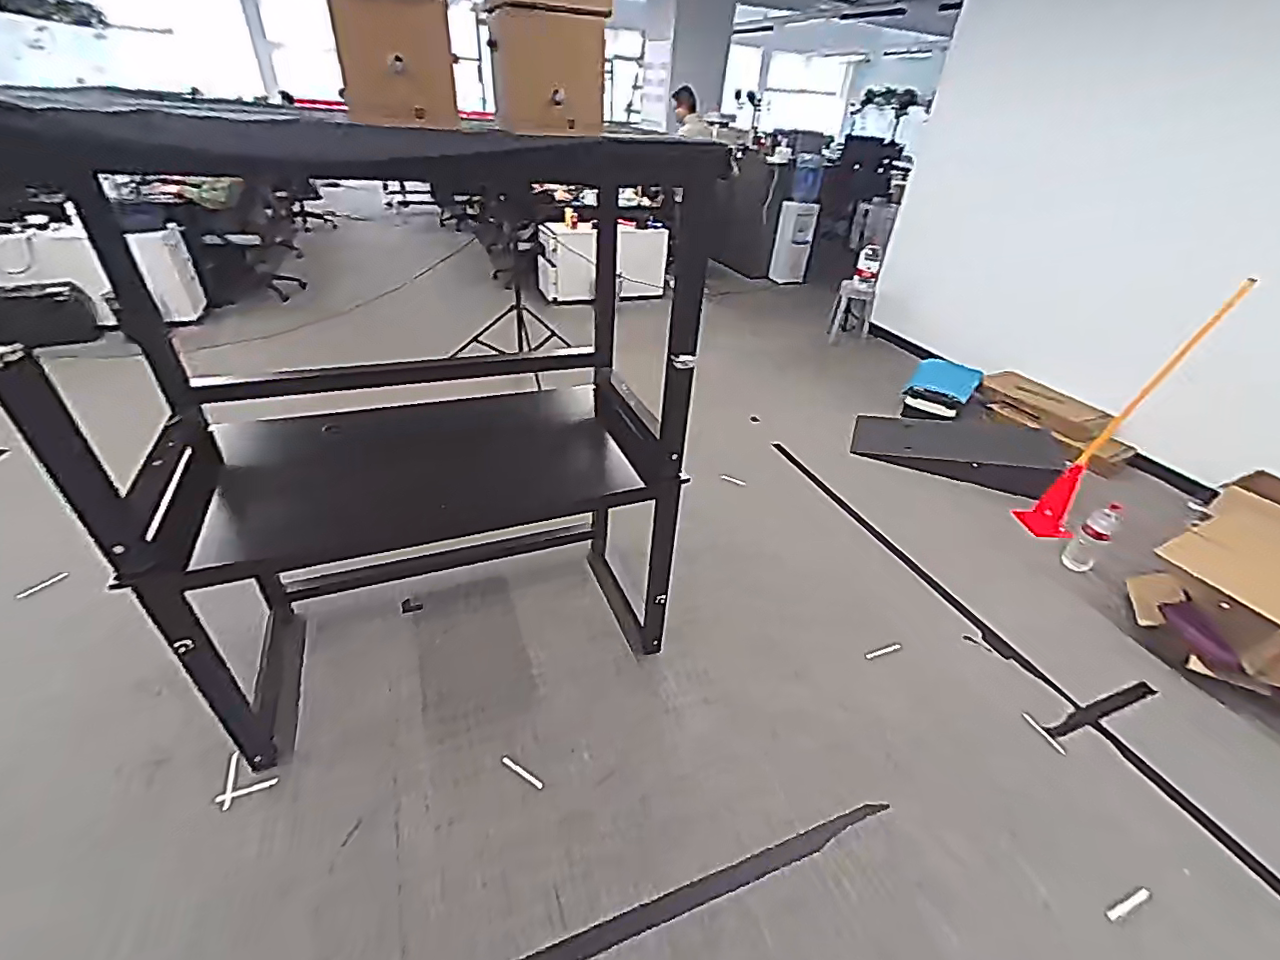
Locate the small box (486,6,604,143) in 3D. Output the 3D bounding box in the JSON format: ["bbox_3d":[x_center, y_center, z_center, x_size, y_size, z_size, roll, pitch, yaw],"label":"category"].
[{"bbox_3d":[-0.167,-0.696,0.941,0.168,0.176,0.179,-11,37,-19],"label":"small box"}]

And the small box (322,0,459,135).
[{"bbox_3d":[-0.389,-0.658,0.865,0.168,0.176,0.179,-8,36,-18],"label":"small box"}]

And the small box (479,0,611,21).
[{"bbox_3d":[-0.153,-0.827,0.839,0.179,0.176,0.168,-12,37,-23],"label":"small box"}]
